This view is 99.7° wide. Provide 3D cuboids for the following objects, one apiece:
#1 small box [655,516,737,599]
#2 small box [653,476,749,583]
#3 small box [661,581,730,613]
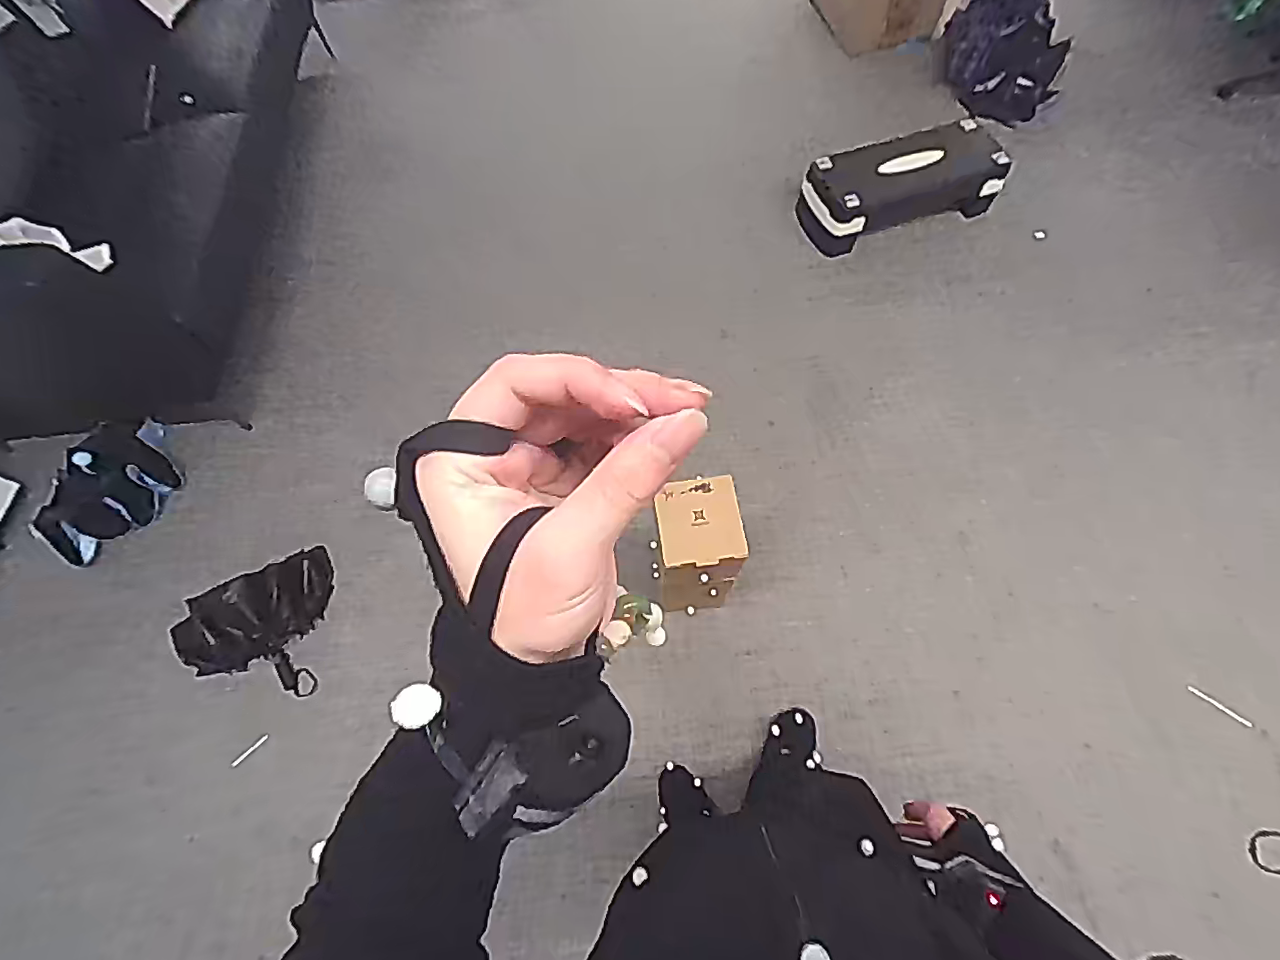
[{"bbox_3d":[0.128,0.178,1.277,0.168,0.176,0.179,-7,65,0],"label":"small box"},{"bbox_3d":[0.121,0.112,1.128,0.168,0.176,0.179,-8,67,-1],"label":"small box"},{"bbox_3d":[0.137,0.243,1.425,0.168,0.176,0.179,-6,66,1],"label":"small box"}]
